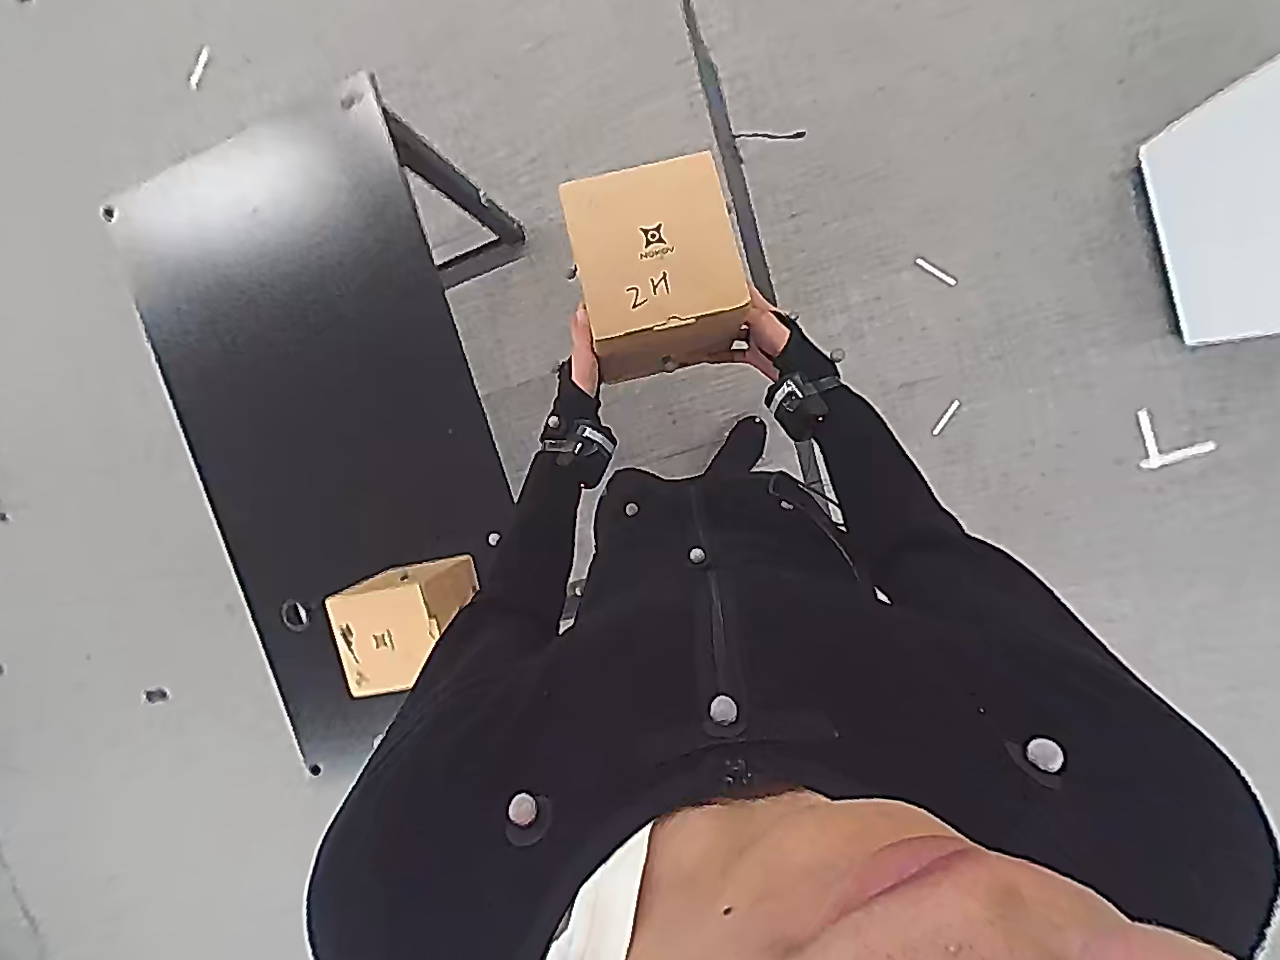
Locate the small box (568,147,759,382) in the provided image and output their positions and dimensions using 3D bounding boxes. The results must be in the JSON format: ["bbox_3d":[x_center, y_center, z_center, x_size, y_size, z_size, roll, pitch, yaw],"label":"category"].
[{"bbox_3d":[0.021,-0.232,0.621,0.168,0.176,0.179,-13,84,-1],"label":"small box"}]

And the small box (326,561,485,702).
[{"bbox_3d":[-0.383,0.248,0.921,0.179,0.176,0.168,-13,95,10],"label":"small box"}]
